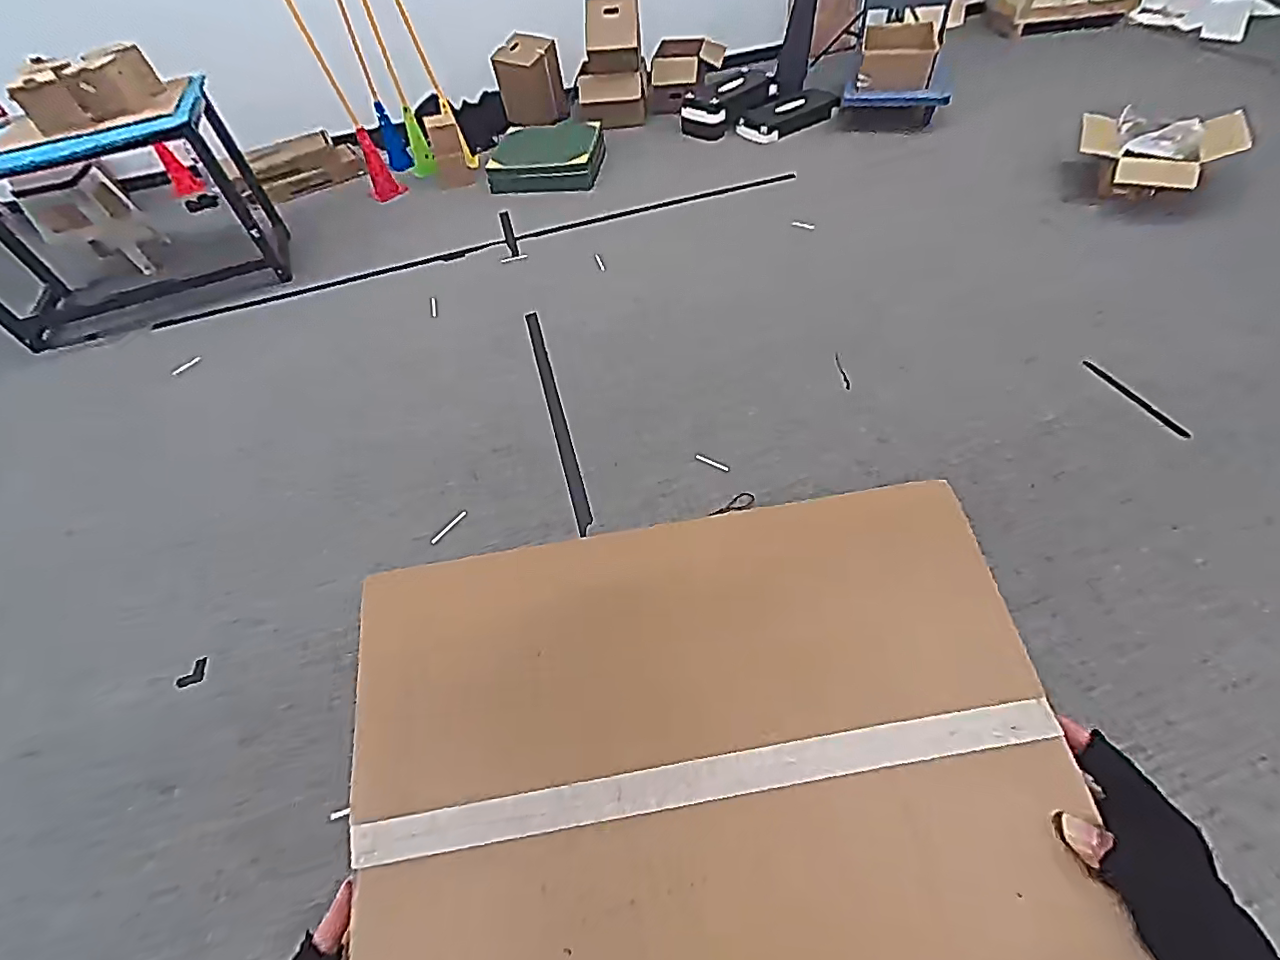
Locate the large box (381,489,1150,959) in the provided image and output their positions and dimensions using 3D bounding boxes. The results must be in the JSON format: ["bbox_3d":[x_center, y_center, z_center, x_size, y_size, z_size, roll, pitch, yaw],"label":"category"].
[{"bbox_3d":[0.052,0.238,0.454,0.408,0.320,0.320,-10,66,-1],"label":"large box"}]
